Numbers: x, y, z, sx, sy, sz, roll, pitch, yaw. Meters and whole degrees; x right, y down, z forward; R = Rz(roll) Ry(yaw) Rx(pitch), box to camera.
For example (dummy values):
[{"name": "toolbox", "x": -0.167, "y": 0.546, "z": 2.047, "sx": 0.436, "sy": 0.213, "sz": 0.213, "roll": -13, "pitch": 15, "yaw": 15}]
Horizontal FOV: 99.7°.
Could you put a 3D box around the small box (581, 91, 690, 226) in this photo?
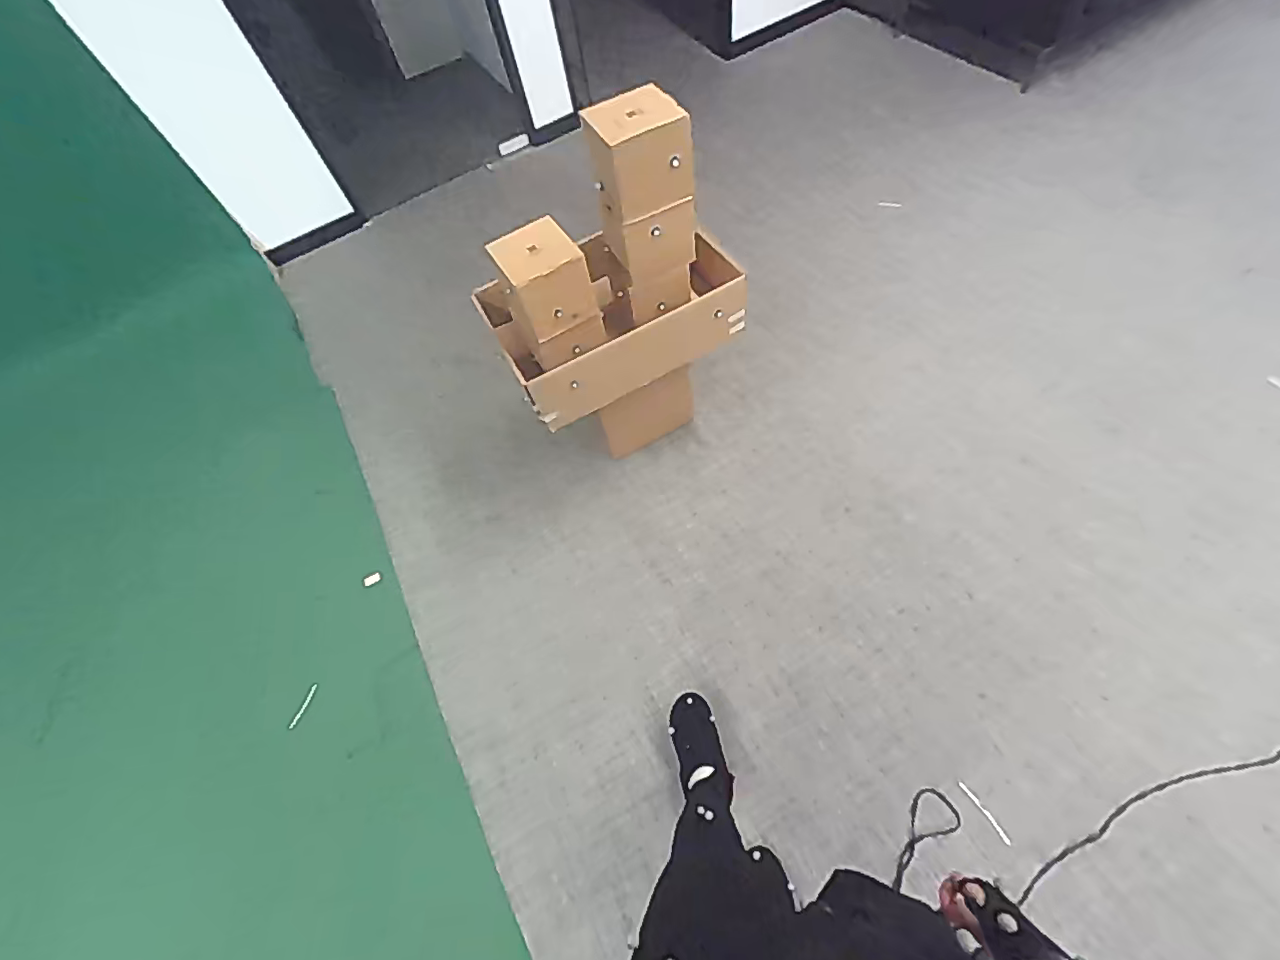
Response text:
[{"name": "small box", "x": -0.004, "y": -0.686, "z": 1.163, "sx": 0.179, "sy": 0.176, "sz": 0.168, "roll": -26, "pitch": 59, "yaw": -6}]

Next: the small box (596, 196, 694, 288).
[{"name": "small box", "x": 0.018, "y": -0.595, "z": 1.297, "sx": 0.179, "sy": 0.176, "sz": 0.168, "roll": -25, "pitch": 59, "yaw": -7}]
